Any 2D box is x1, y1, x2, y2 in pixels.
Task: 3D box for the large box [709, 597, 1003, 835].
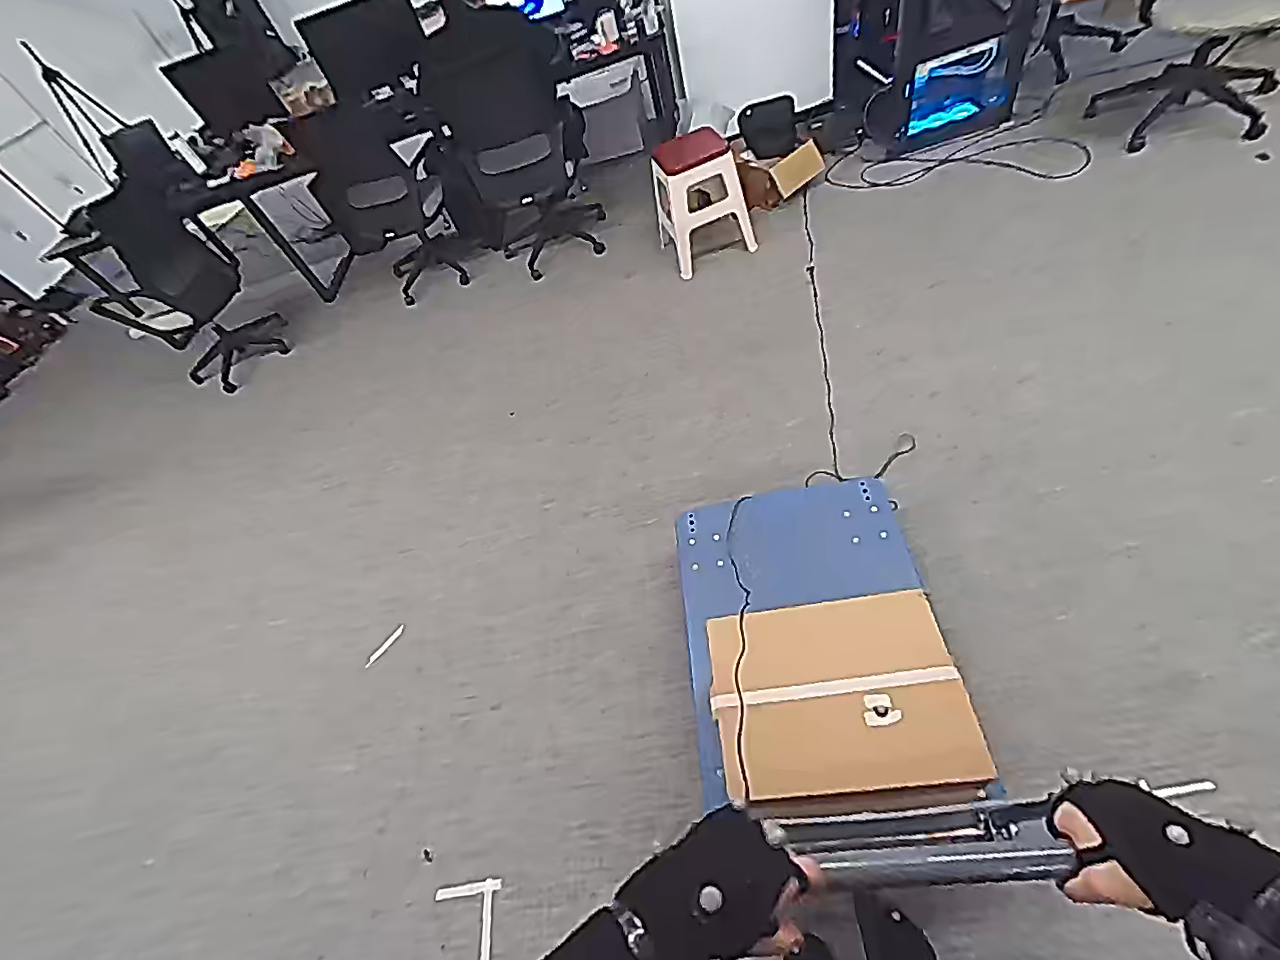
[{"bbox_3d":[0.365,0.456,1.020,0.408,0.320,0.320,-11,52,9],"label":"large box"}]
